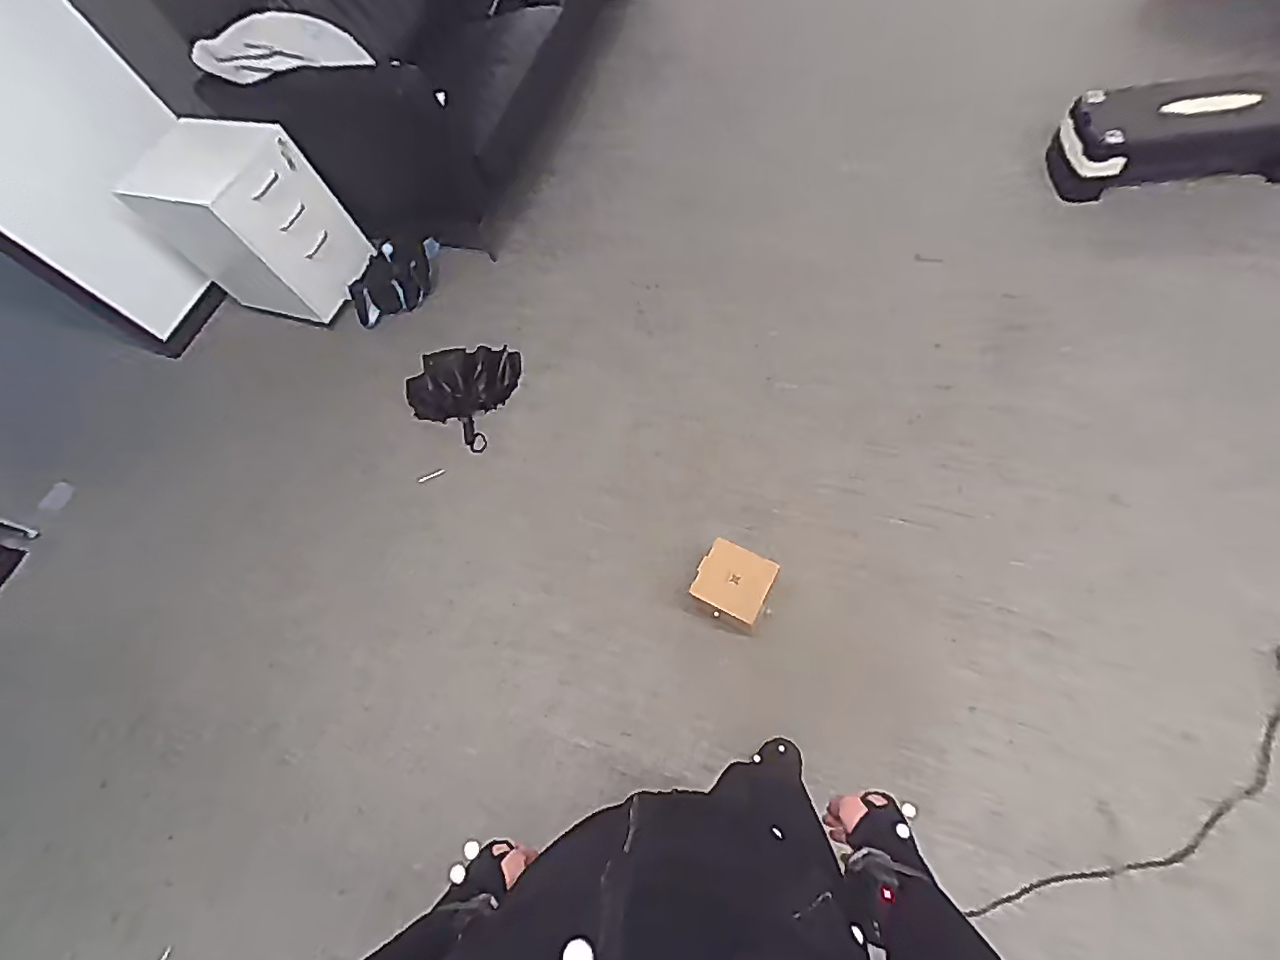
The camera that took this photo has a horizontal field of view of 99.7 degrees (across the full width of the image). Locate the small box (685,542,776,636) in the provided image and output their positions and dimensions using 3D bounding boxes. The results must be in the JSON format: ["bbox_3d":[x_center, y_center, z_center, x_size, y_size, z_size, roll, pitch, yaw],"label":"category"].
[{"bbox_3d":[0.238,0.291,1.415,0.179,0.176,0.168,24,73,20],"label":"small box"}]
